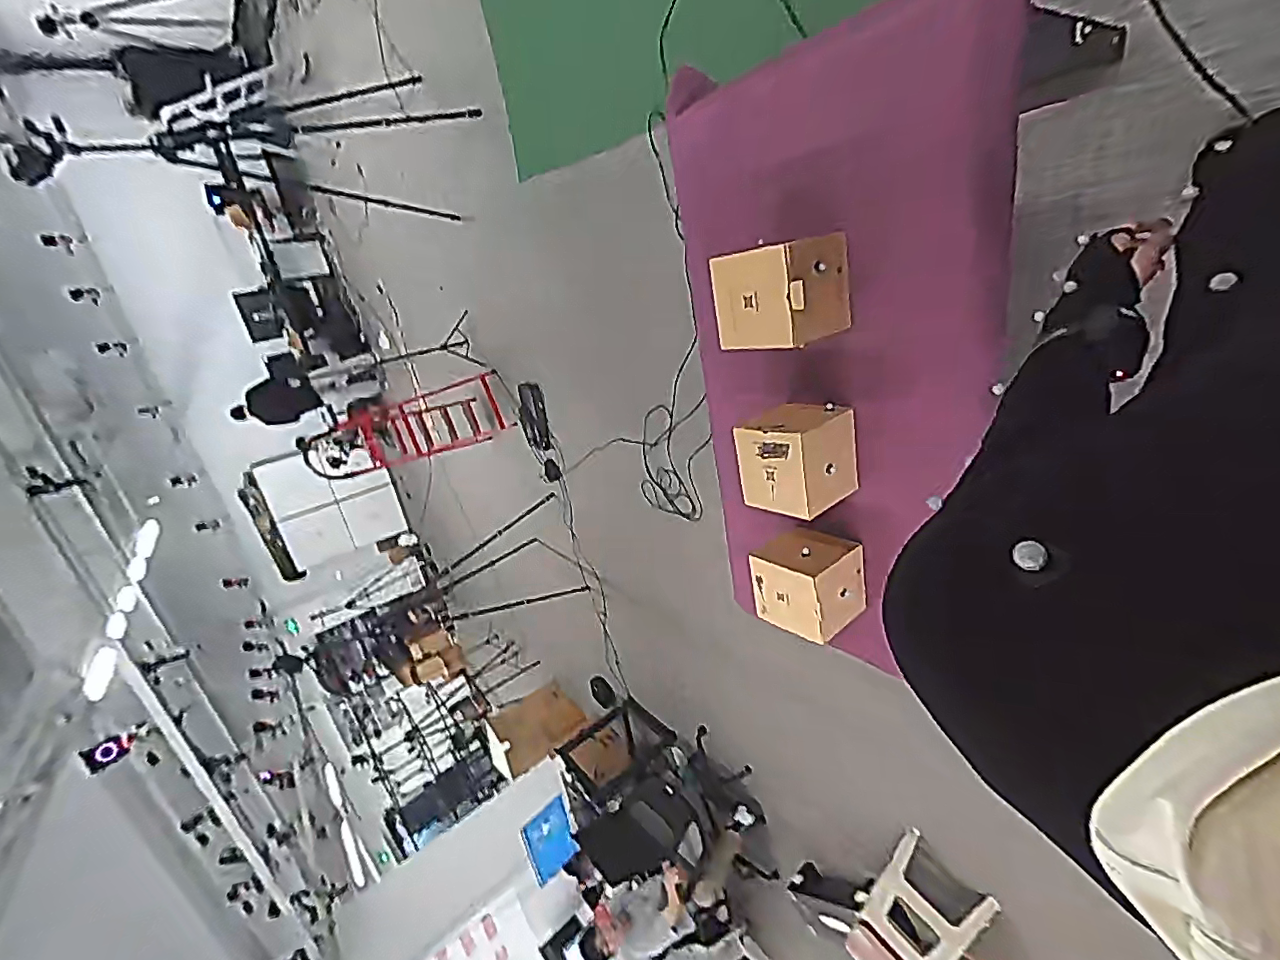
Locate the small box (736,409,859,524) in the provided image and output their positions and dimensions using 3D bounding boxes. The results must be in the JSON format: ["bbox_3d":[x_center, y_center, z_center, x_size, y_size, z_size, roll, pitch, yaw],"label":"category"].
[{"bbox_3d":[0.320,-0.038,1.091,0.168,0.176,0.179,14,123,52],"label":"small box"}]

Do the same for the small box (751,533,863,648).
[{"bbox_3d":[0.373,0.232,1.190,0.179,0.176,0.168,13,120,51],"label":"small box"}]

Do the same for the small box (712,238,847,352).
[{"bbox_3d":[0.261,-0.334,0.986,0.179,0.176,0.168,16,123,51],"label":"small box"}]
